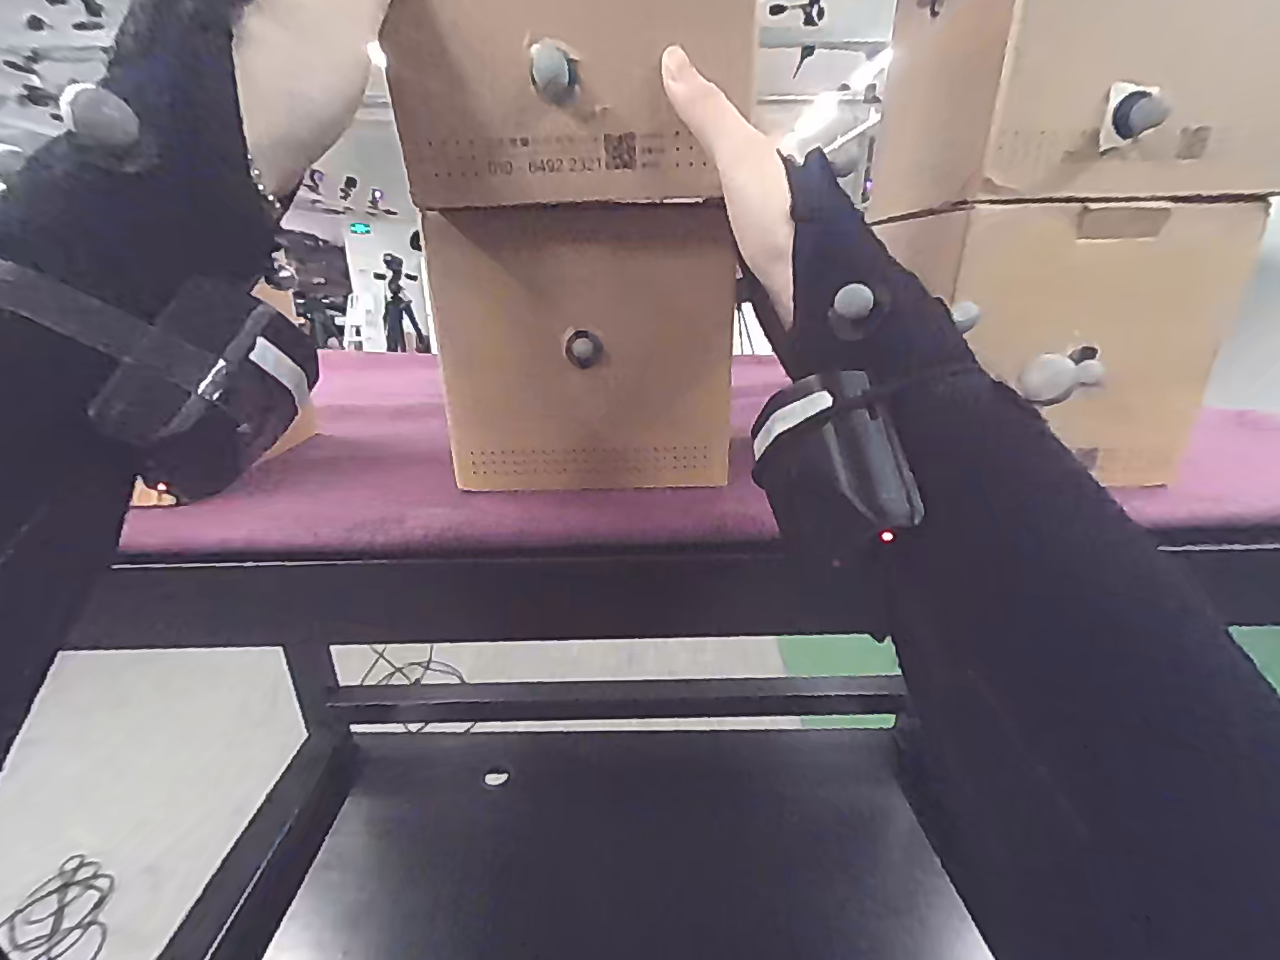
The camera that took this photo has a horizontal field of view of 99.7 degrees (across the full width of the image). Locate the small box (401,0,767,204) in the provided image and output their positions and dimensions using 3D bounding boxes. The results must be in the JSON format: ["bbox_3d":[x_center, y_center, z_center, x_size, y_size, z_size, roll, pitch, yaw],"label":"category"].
[{"bbox_3d":[-0.025,-0.250,0.299,0.168,0.176,0.179,-1,29,2],"label":"small box"}]

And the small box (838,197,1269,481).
[{"bbox_3d":[0.260,-0.103,0.397,0.168,0.176,0.179,0,21,1],"label":"small box"}]

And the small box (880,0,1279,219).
[{"bbox_3d":[0.268,-0.256,0.338,0.168,0.176,0.179,-1,21,3],"label":"small box"}]

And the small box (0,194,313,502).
[{"bbox_3d":[-0.357,-0.092,0.376,0.168,0.176,0.179,-1,19,-4],"label":"small box"}]
